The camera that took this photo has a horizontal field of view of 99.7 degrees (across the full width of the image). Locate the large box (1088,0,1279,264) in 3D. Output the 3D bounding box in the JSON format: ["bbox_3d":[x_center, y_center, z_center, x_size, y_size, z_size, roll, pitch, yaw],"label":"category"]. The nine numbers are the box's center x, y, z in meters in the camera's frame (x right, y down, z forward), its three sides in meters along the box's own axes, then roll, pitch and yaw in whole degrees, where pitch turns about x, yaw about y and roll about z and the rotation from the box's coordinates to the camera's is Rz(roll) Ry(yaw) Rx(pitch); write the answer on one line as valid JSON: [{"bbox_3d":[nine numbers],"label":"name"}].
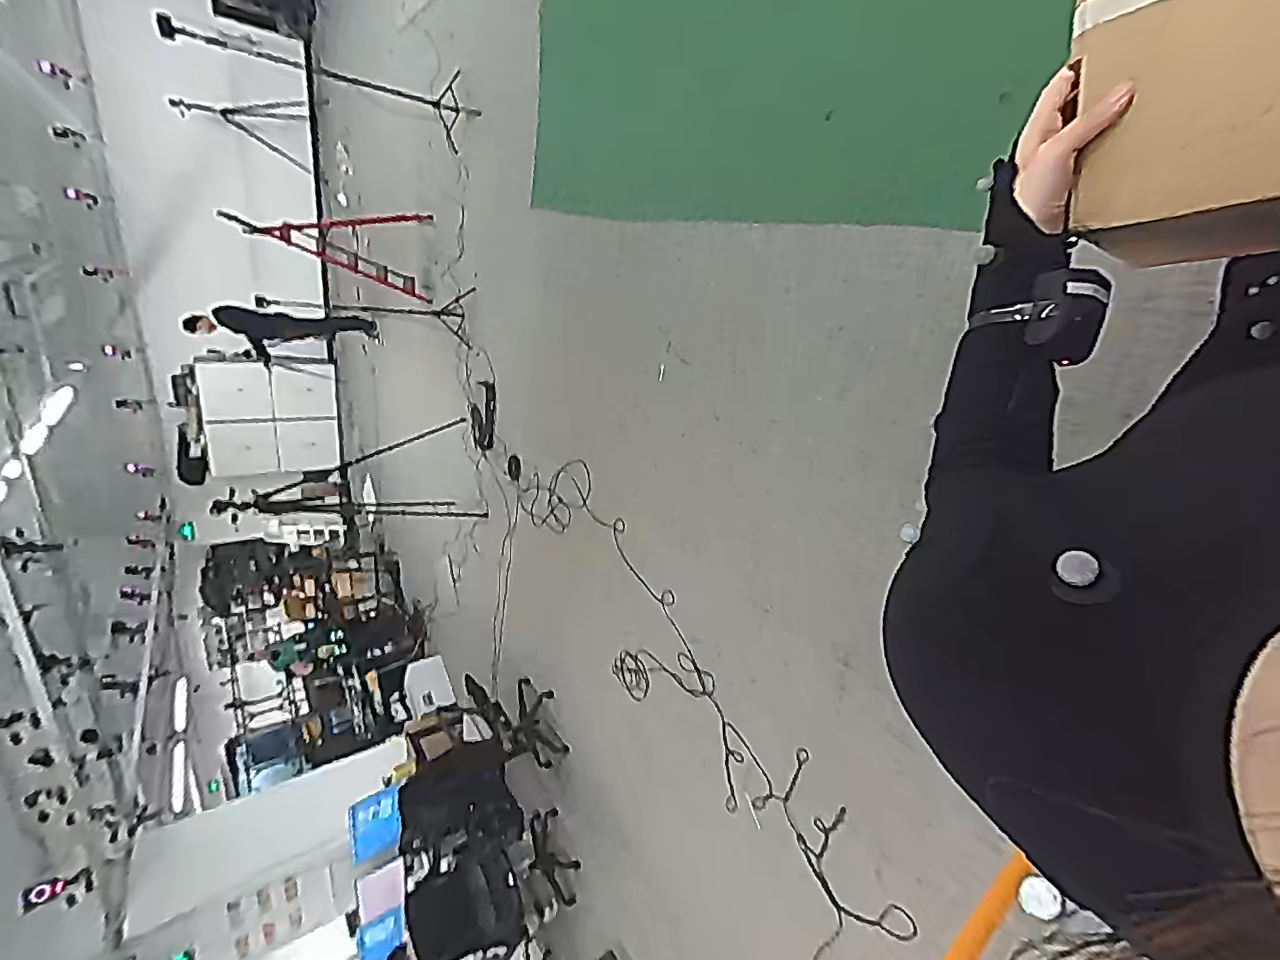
[{"bbox_3d":[0.590,-0.359,0.361,0.408,0.320,0.320,8,106,47],"label":"large box"}]
